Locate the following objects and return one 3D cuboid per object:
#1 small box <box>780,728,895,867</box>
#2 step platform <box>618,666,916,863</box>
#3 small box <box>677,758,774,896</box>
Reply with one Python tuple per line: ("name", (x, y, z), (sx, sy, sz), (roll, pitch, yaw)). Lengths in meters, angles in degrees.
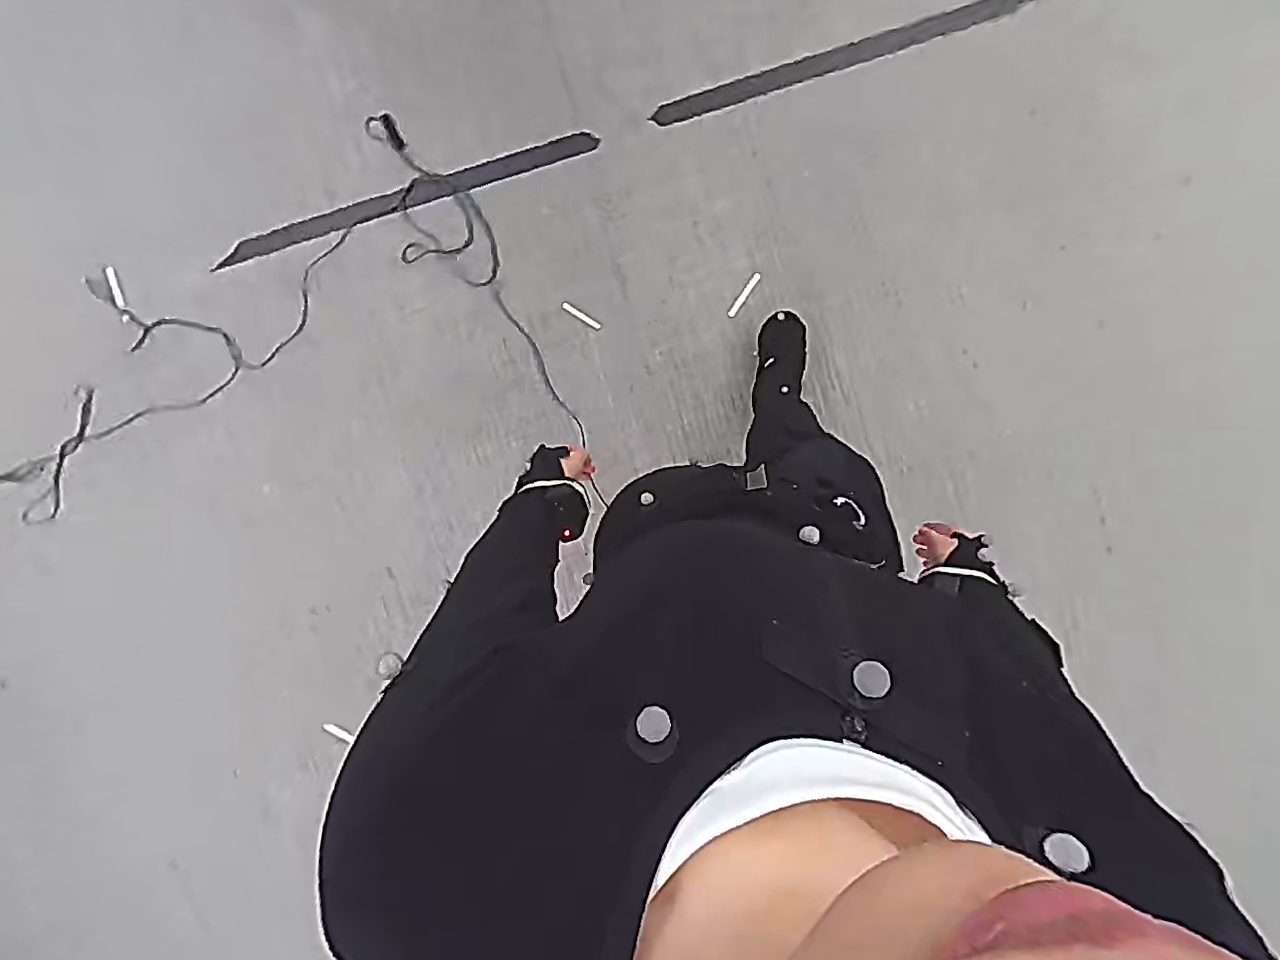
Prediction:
("small box", (0.405, 0.656, 1.132), (0.168, 0.176, 0.179), (-14, 95, 5))
("step platform", (0.292, 0.690, 1.320), (0.684, 0.204, 0.286), (-15, 95, 5))
("small box", (0.178, 0.734, 1.157), (0.168, 0.176, 0.179), (-13, 94, 5))
